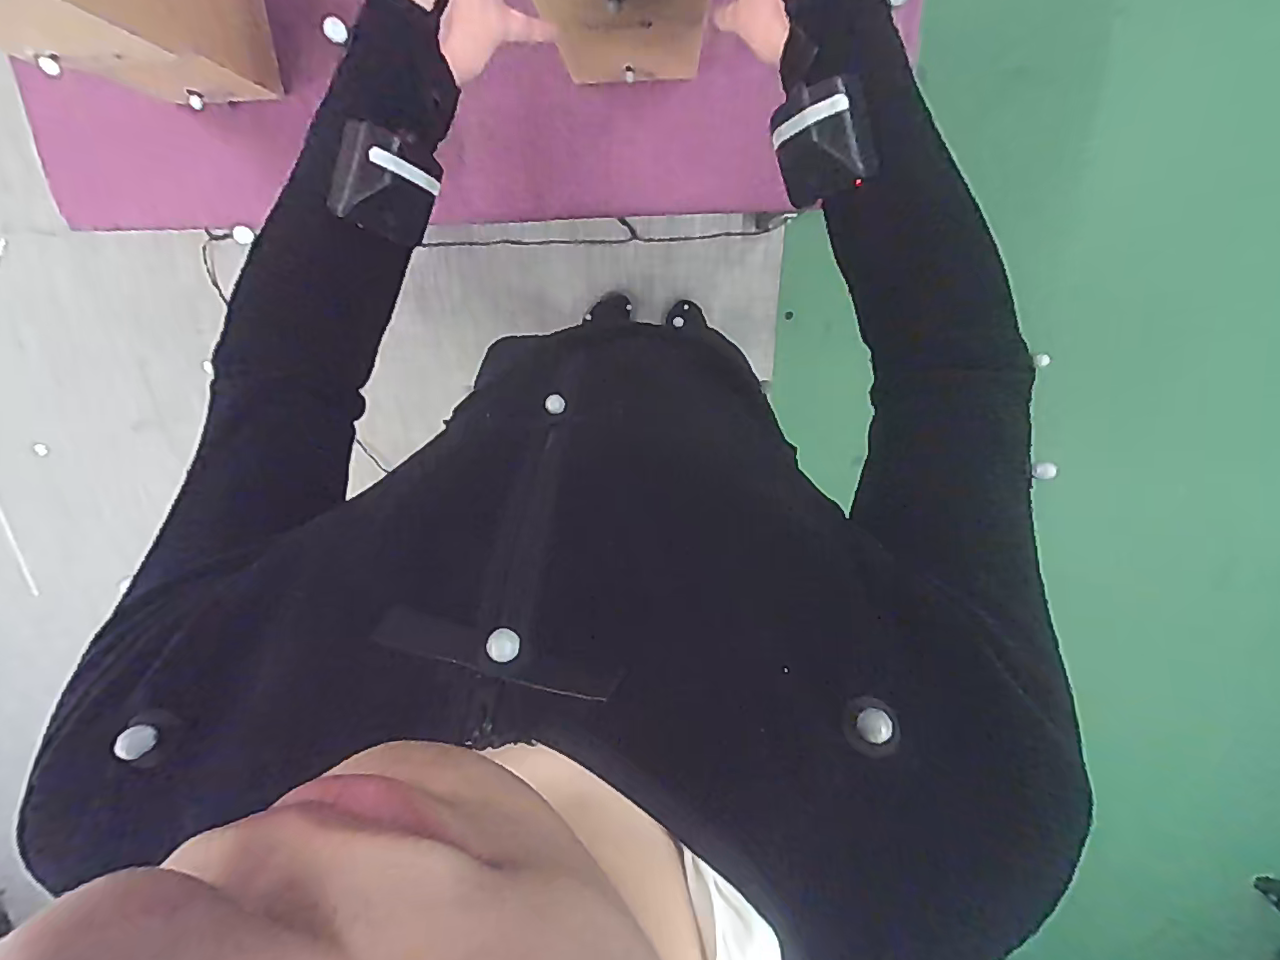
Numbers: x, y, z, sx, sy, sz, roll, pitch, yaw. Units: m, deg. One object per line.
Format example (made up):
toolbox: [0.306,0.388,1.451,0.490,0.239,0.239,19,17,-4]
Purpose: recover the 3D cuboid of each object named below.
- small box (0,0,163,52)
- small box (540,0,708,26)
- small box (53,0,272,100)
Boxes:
small box: [-0.580,-0.508,0.474,0.168,0.176,0.179,-1,108,3]
small box: [-0.018,-0.515,0.452,0.168,0.176,0.179,0,109,2]
small box: [-0.573,-0.571,0.624,0.168,0.176,0.179,-1,110,3]
